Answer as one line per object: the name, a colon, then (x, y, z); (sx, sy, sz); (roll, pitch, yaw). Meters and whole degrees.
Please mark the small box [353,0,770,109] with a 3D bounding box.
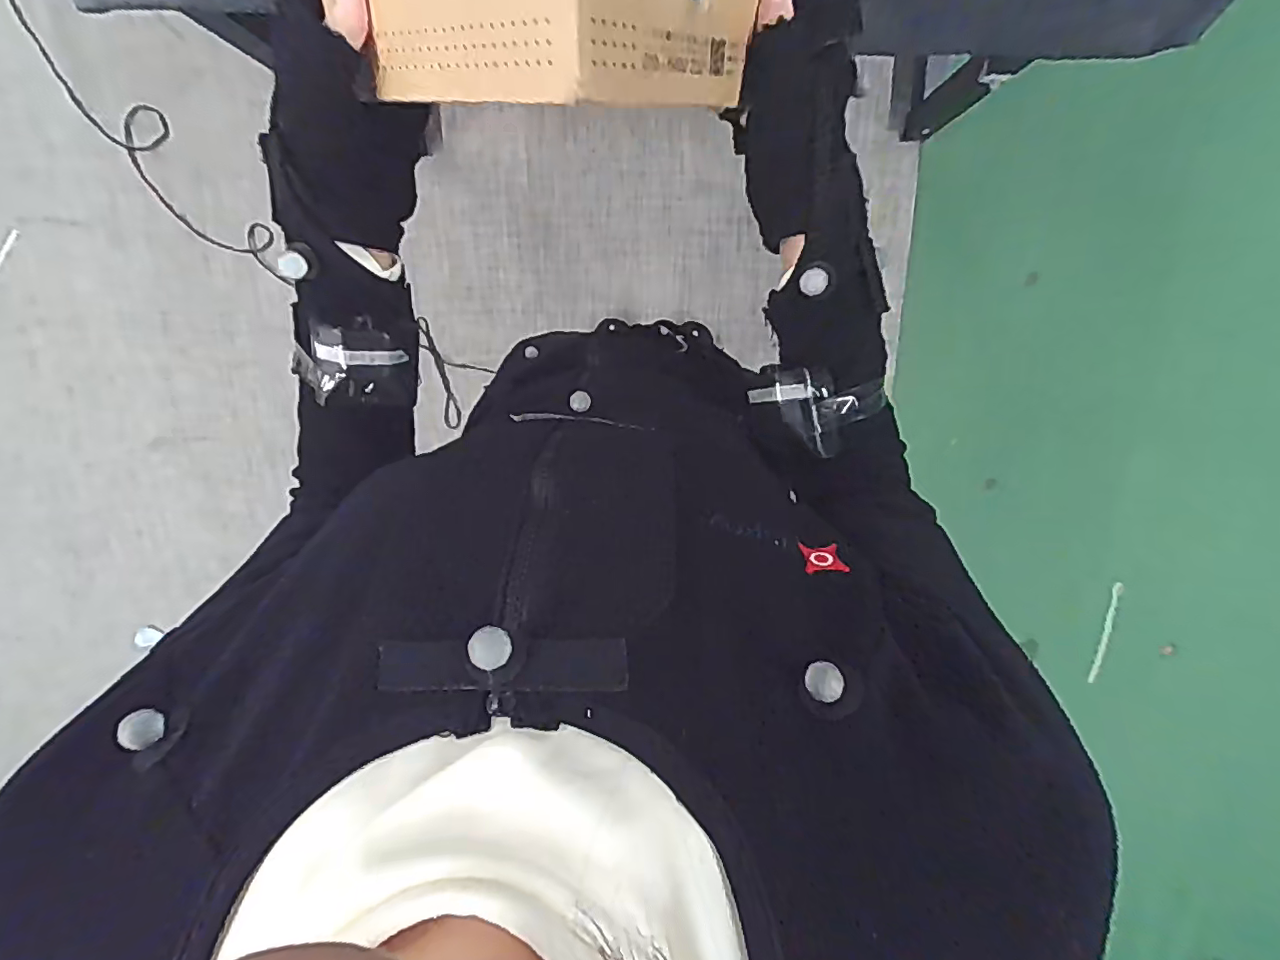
small box: (-0.041, -0.295, 0.273); (0.179, 0.168, 0.176); (25, 132, 28)
